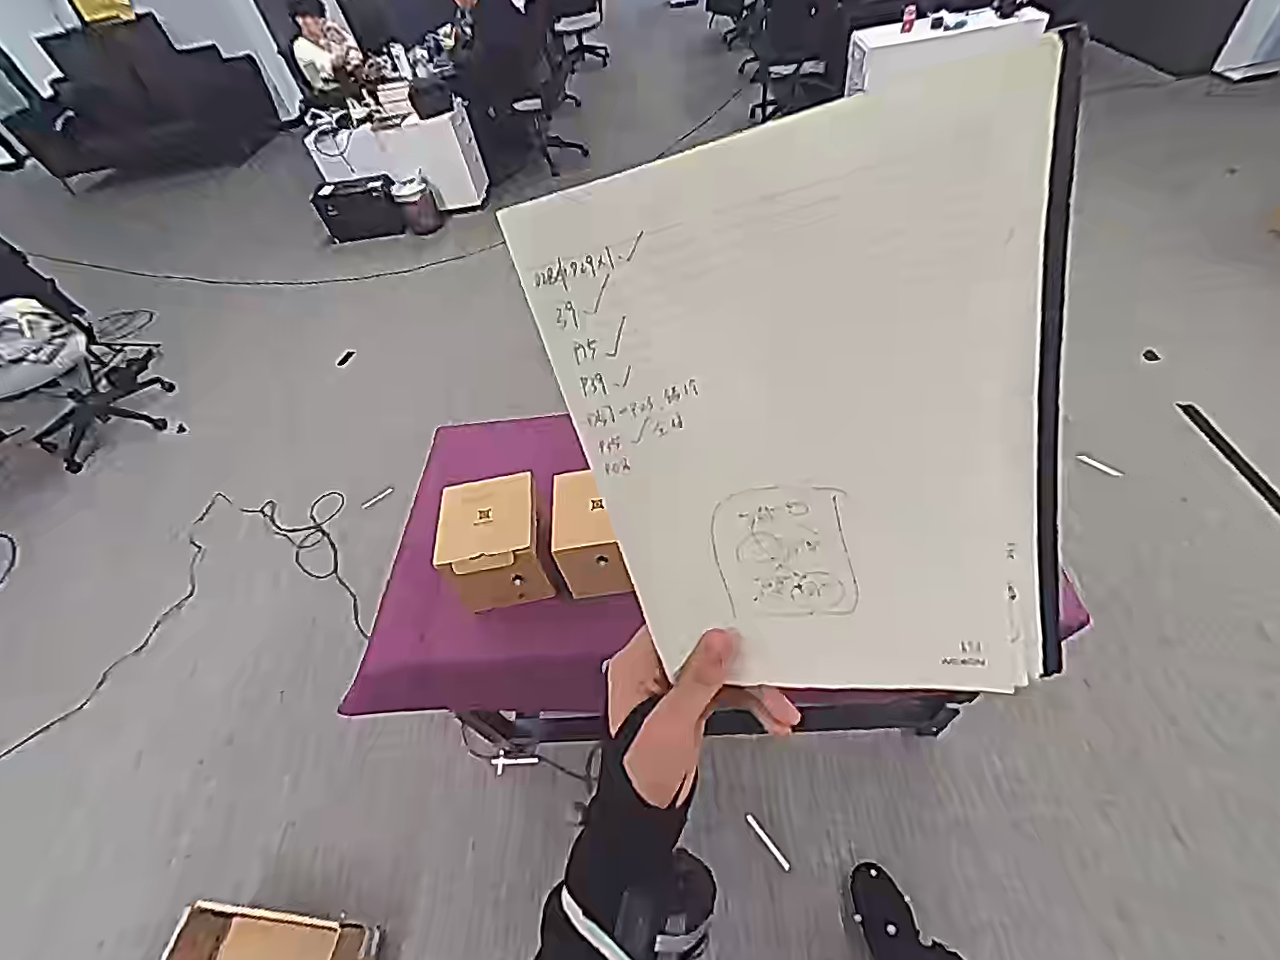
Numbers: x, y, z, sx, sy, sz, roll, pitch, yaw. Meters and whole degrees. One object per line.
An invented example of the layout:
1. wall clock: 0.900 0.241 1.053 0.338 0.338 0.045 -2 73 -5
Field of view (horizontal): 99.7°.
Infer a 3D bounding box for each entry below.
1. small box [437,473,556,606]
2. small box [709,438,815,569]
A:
1. small box: -0.255 0.117 1.000 0.168 0.176 0.179 -11 49 1
2. small box: 0.212 0.048 0.967 0.168 0.176 0.179 -3 49 8
